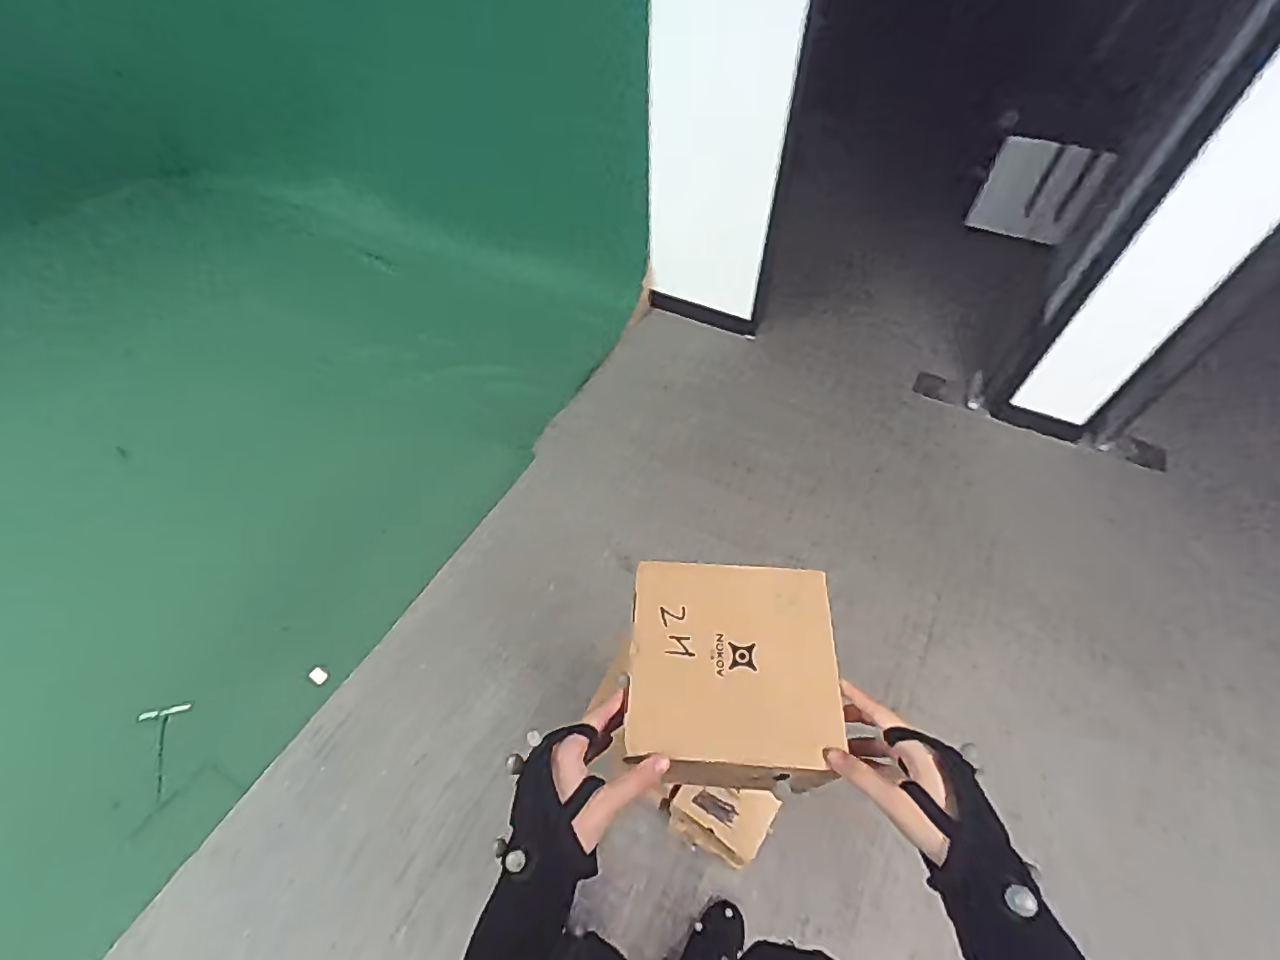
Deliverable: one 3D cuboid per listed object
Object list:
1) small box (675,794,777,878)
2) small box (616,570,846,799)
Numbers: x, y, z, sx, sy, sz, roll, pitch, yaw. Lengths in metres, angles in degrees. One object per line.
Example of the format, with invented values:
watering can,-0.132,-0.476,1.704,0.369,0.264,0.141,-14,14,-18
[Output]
small box,0.183,0.735,1.189,0.168,0.176,0.179,24,59,18
small box,0.077,0.201,0.518,0.179,0.176,0.168,2,54,4
